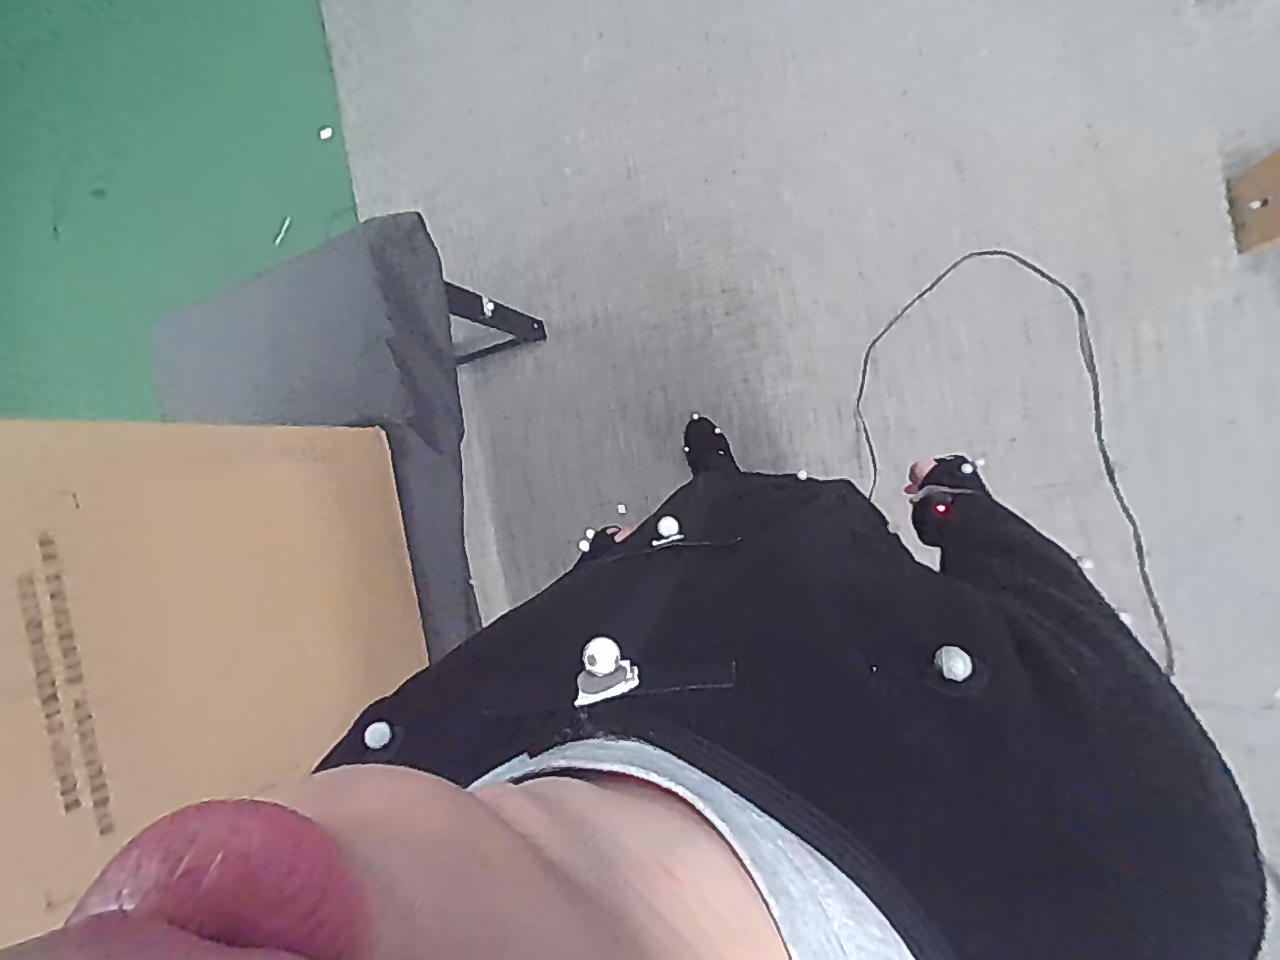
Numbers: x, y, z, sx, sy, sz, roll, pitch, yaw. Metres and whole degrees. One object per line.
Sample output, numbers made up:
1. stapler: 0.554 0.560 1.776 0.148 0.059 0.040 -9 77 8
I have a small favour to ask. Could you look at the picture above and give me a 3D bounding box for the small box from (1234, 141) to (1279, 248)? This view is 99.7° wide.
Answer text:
1. small box: 1.317 -0.575 1.047 0.179 0.176 0.168 -11 90 19
